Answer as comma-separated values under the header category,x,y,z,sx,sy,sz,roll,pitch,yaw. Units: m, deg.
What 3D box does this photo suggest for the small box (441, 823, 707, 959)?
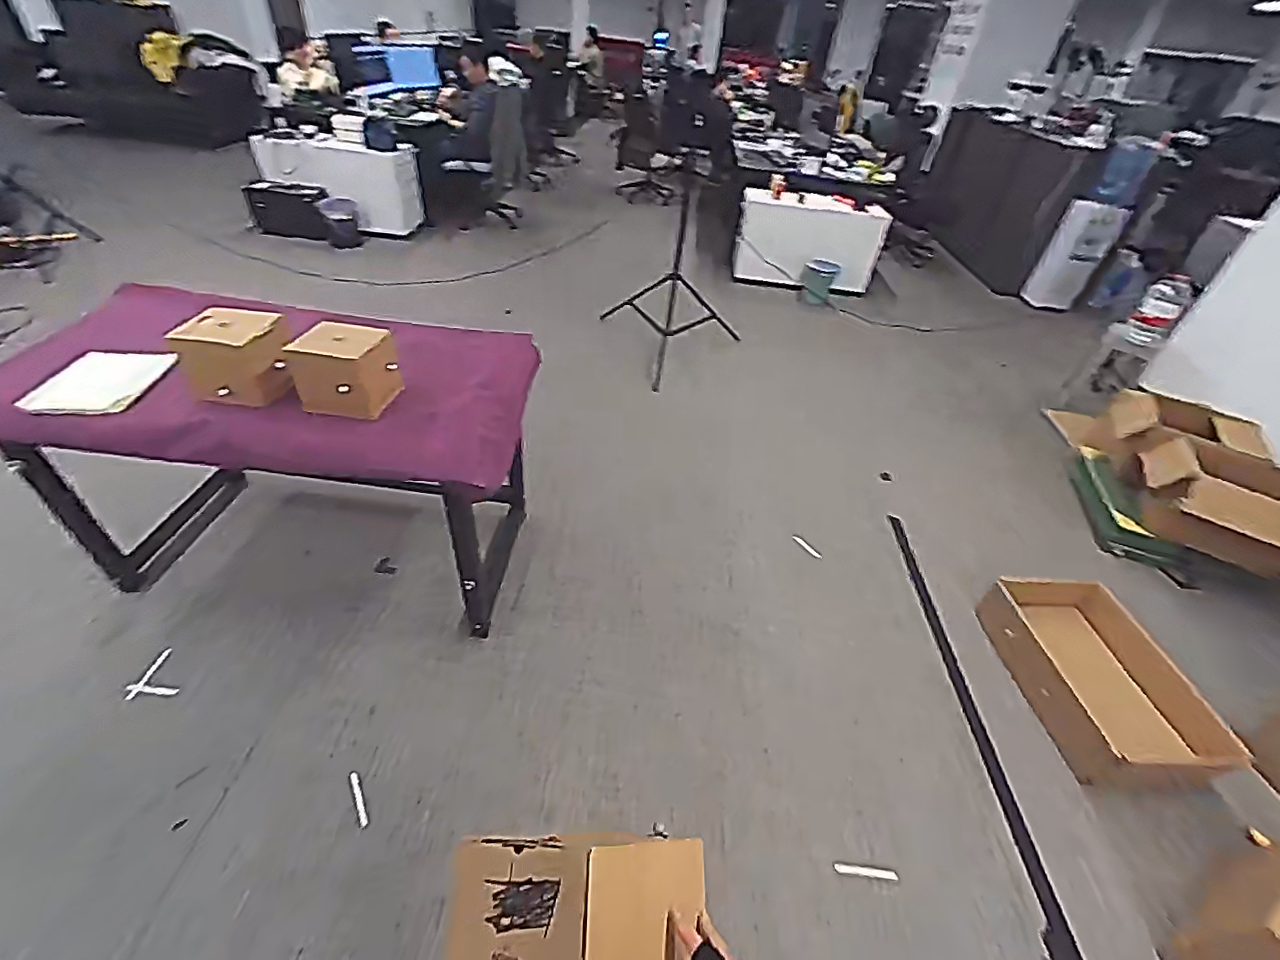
category,x,y,z,sx,sy,sz,roll,pitch,yaw
small box,-0.052,0.404,0.469,0.168,0.176,0.179,-22,54,32

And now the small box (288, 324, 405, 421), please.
category,x,y,z,sx,sy,sz,roll,pitch,yaw
small box,-0.705,-0.261,1.325,0.179,0.176,0.168,7,38,3

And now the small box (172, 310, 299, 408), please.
category,x,y,z,sx,sy,sz,roll,pitch,yaw
small box,-0.969,-0.294,1.326,0.179,0.176,0.168,7,40,0
